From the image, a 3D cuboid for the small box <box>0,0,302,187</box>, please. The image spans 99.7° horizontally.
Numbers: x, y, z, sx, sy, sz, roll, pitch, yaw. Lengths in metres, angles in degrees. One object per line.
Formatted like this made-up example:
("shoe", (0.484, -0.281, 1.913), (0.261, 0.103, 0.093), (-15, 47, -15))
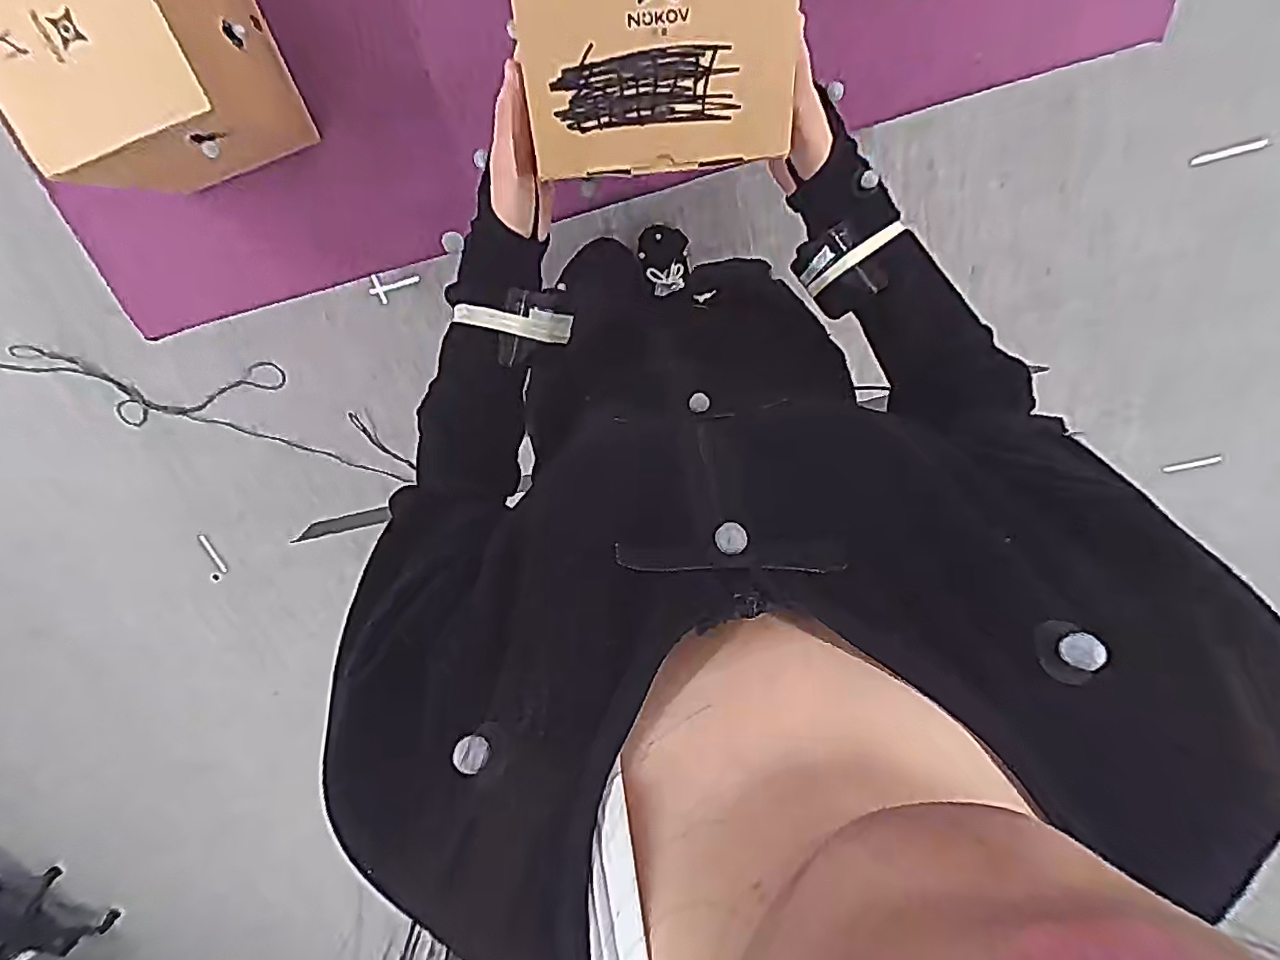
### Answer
("small box", (-0.455, -0.389, 0.498), (0.179, 0.176, 0.168), (-16, 113, 8))
